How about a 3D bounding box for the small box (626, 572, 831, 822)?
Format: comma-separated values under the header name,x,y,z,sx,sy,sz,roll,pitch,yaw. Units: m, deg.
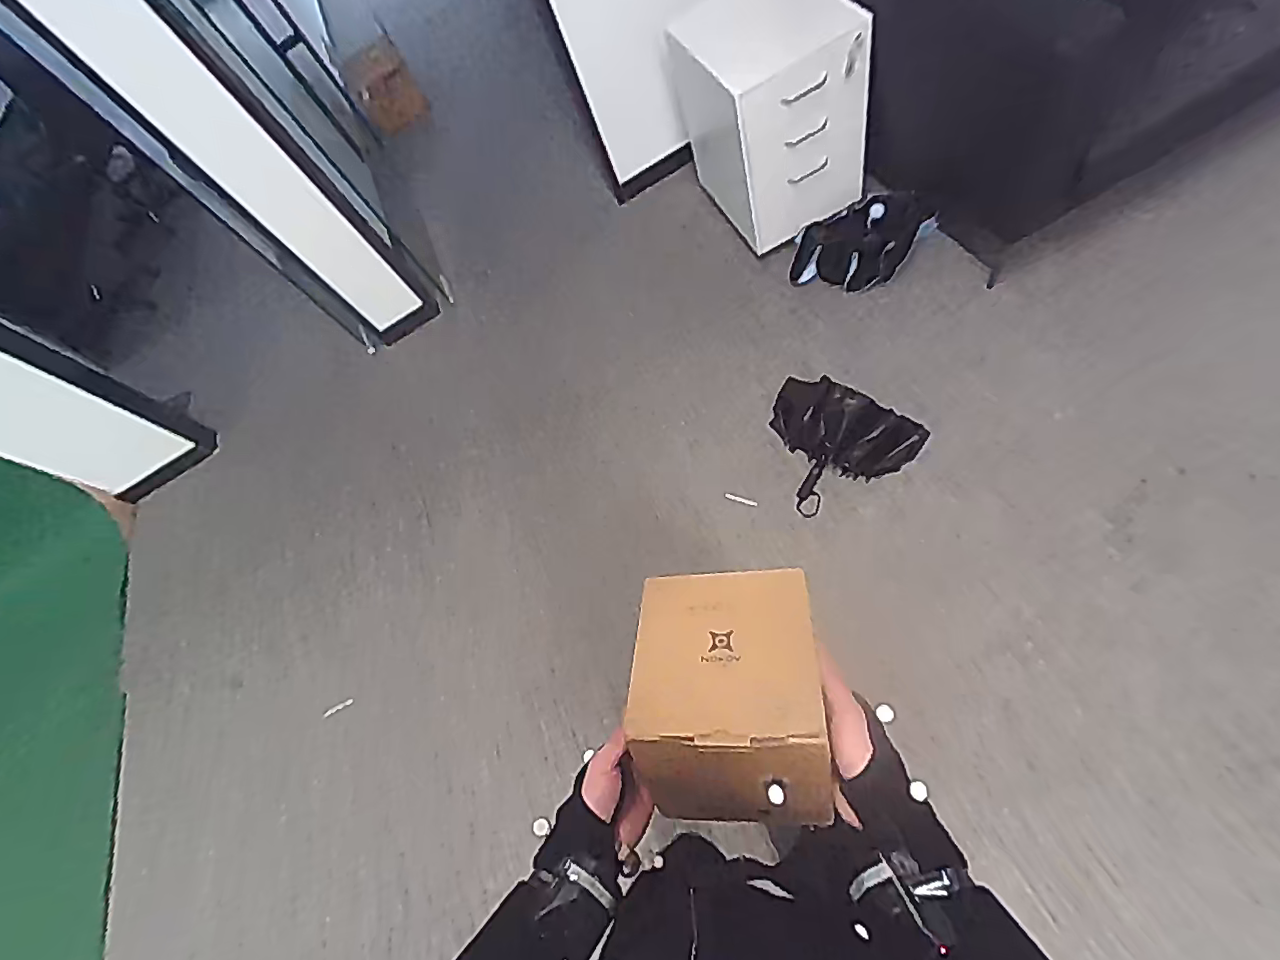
name,x,y,z,sx,sy,sz,roll,pitch,yaw
small box,0.094,0.217,0.542,0.168,0.176,0.179,-6,36,12
